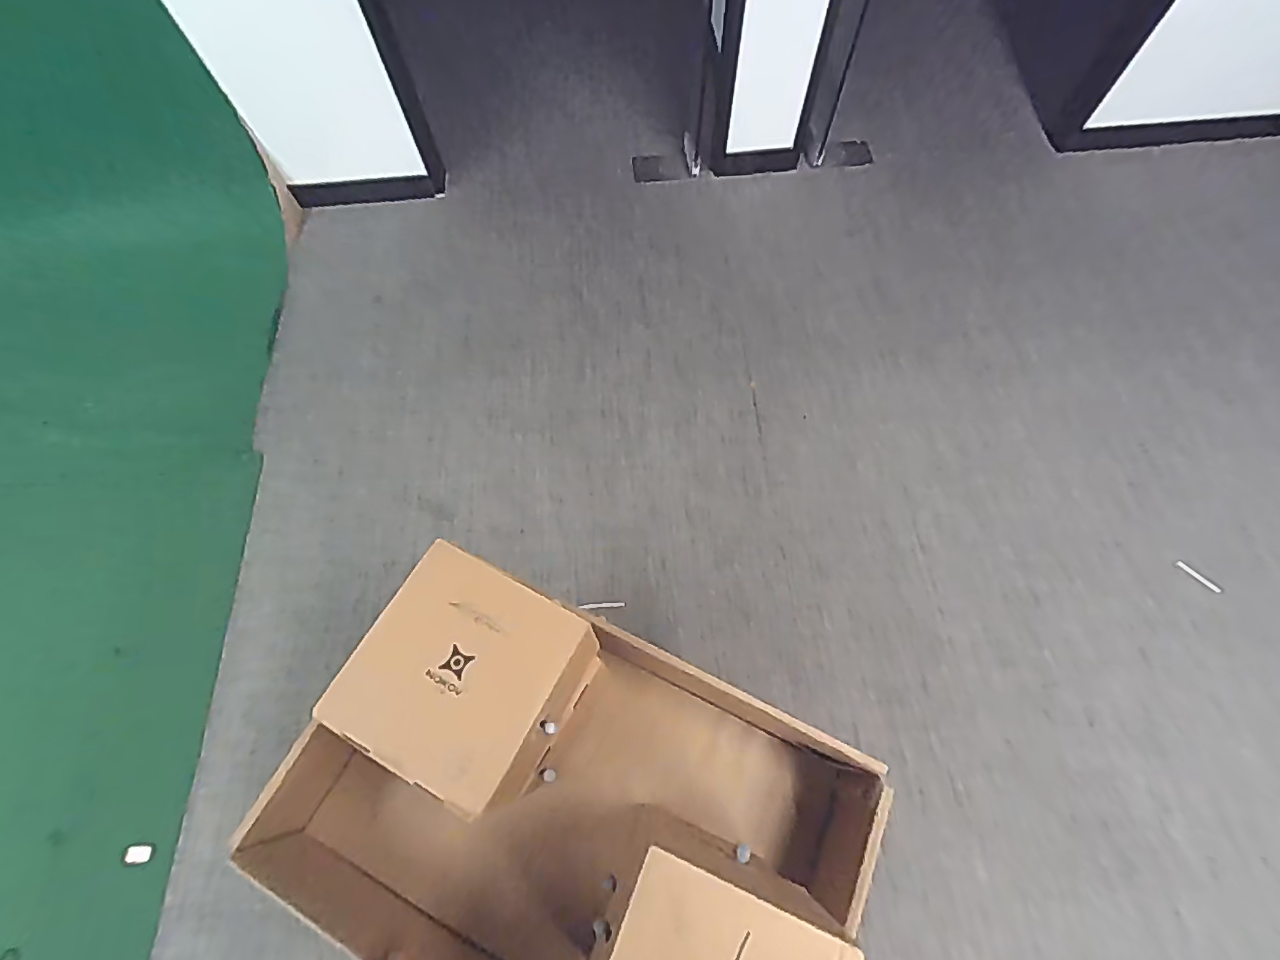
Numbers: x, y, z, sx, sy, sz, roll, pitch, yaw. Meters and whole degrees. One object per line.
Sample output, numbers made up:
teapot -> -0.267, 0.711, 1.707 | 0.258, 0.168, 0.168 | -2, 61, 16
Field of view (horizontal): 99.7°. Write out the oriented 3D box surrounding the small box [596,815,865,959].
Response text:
small box -> 0.052, 0.405, 0.434 | 0.168, 0.176, 0.179 | 21, 67, 9

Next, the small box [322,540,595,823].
small box -> -0.153, 0.192, 0.532 | 0.168, 0.176, 0.179 | 27, 68, 10
